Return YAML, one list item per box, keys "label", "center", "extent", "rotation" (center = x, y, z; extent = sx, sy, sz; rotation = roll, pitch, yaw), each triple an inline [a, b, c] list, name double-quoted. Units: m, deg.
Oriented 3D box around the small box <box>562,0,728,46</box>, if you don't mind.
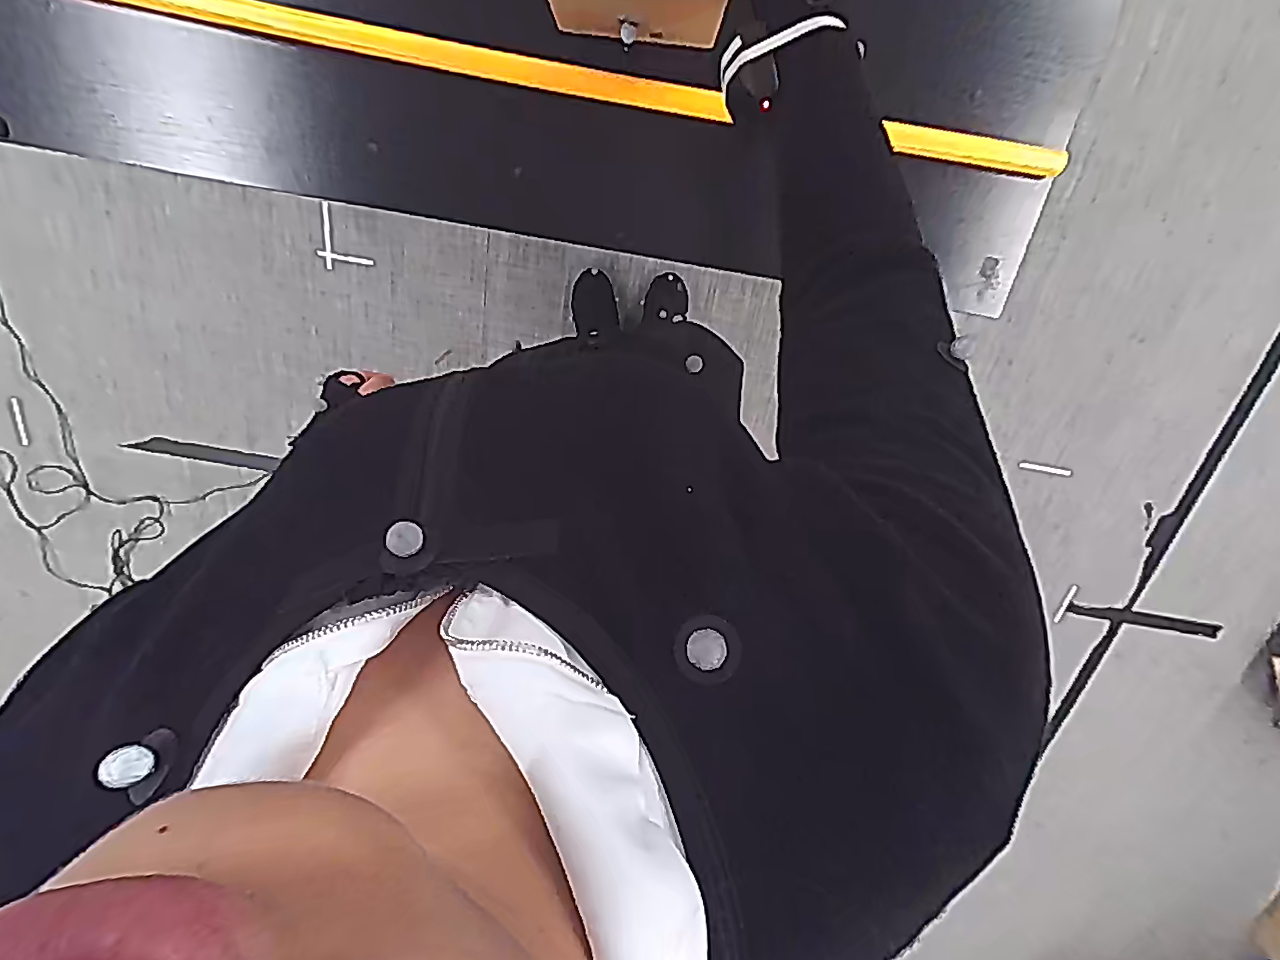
- label: "small box"
  center: [0.007, -0.523, 0.472]
  extent: [0.168, 0.176, 0.179]
  rotation: [6, 113, -2]
